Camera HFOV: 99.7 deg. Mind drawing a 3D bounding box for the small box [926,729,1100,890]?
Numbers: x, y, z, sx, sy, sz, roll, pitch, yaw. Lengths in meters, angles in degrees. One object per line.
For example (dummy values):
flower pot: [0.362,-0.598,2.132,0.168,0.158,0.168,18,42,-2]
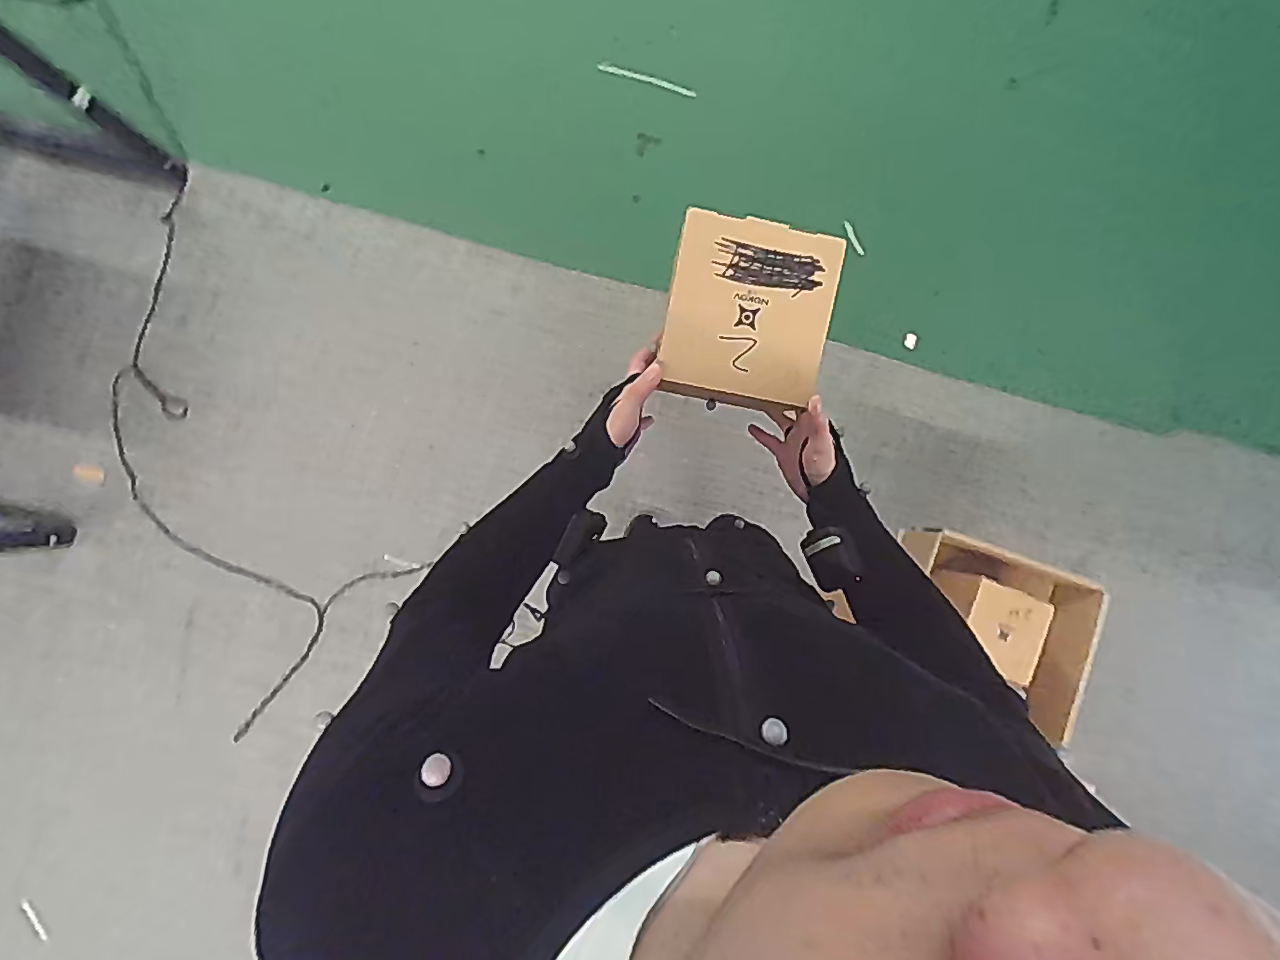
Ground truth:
small box: [0.659,0.579,0.978,0.179,0.176,0.168,20,87,-1]
